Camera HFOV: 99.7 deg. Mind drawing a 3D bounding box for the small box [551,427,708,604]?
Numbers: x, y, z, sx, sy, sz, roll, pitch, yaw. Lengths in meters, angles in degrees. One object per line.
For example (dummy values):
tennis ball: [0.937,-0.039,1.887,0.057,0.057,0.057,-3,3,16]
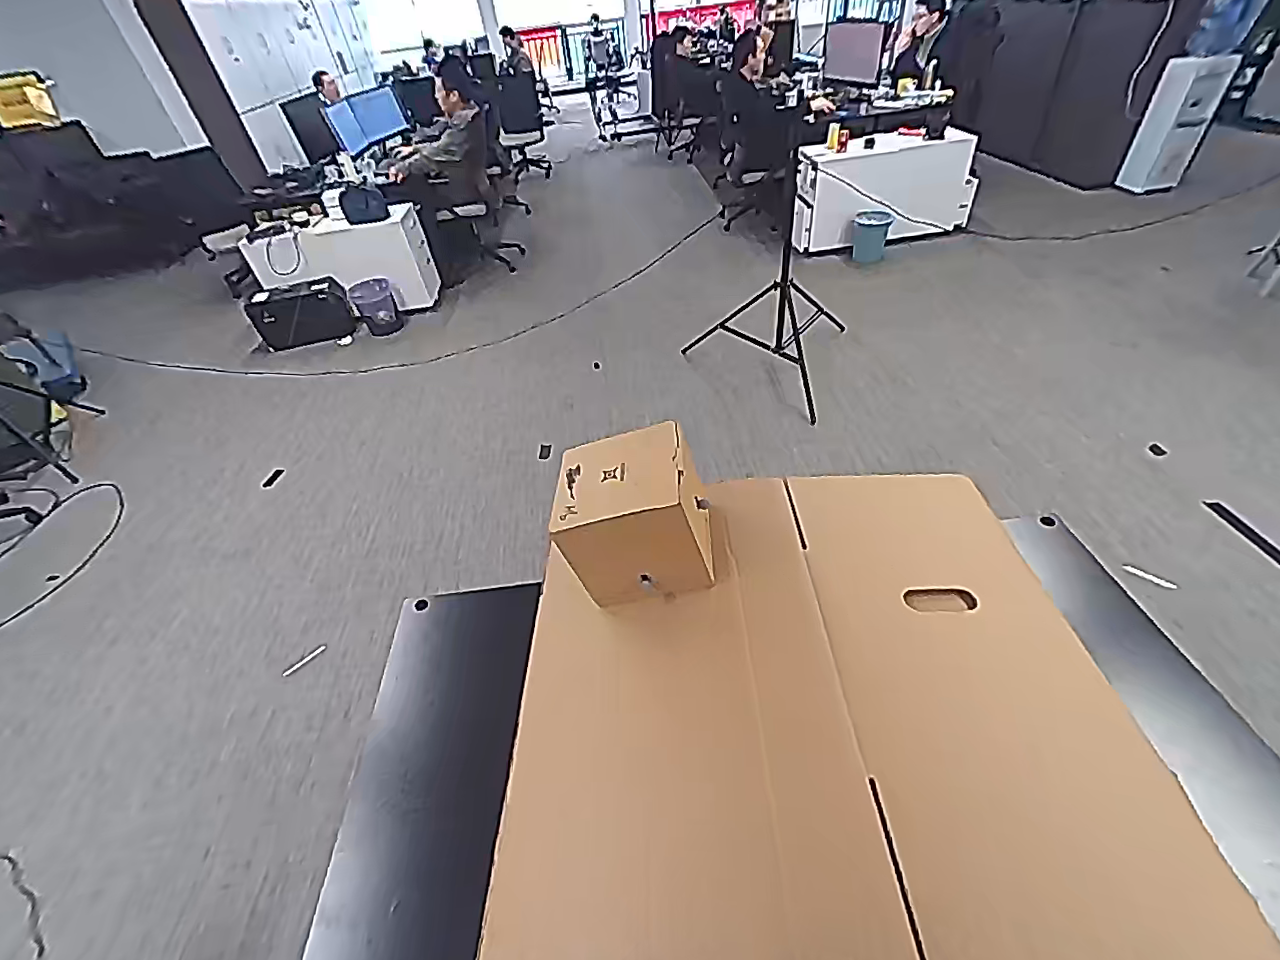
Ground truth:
small box: [-0.004,0.054,0.771,0.179,0.176,0.168,-13,40,13]
